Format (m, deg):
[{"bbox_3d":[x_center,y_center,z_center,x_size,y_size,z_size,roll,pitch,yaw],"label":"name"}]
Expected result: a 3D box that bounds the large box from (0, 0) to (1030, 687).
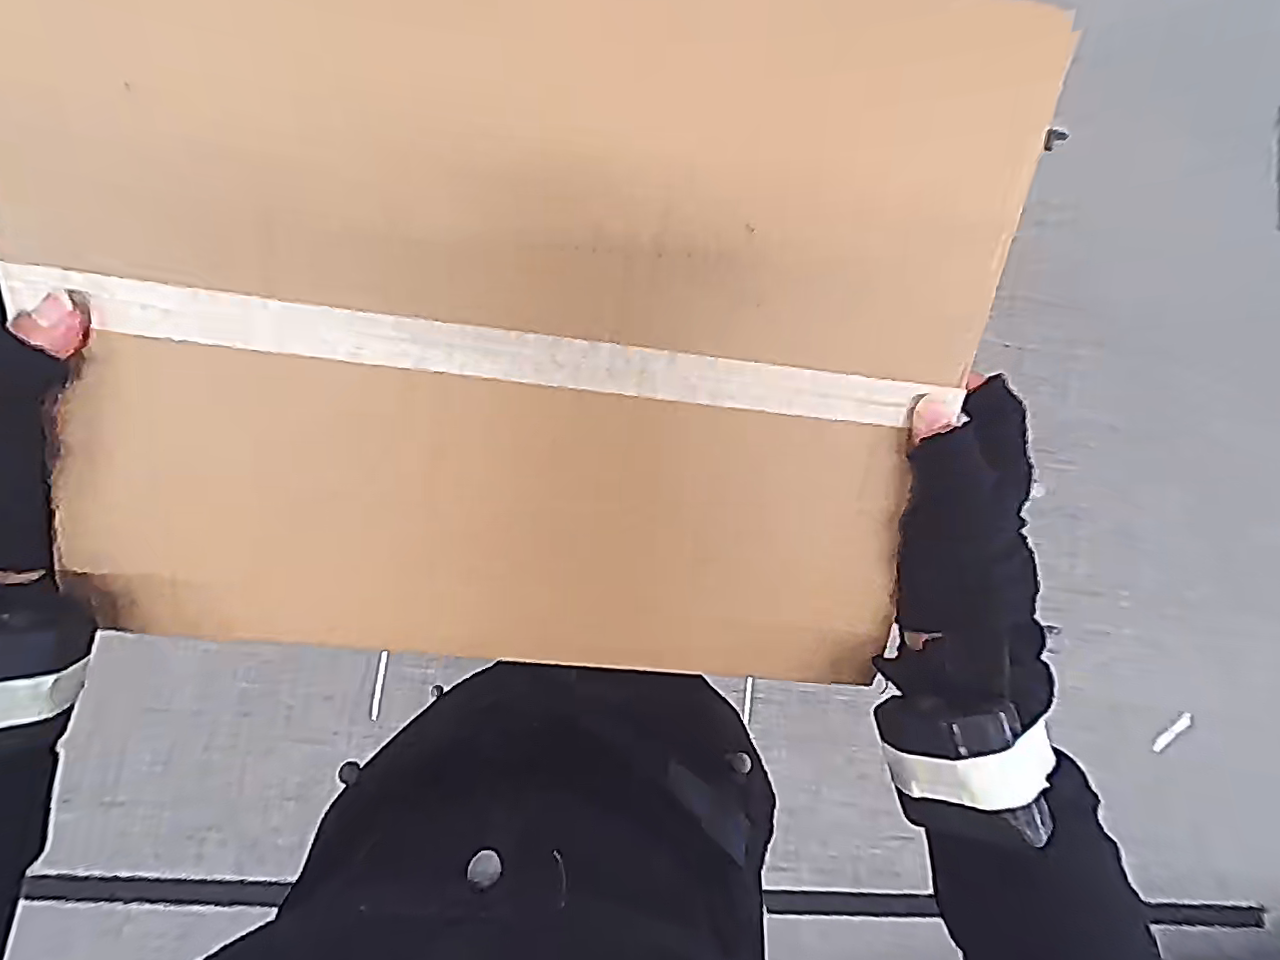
[{"bbox_3d":[-0.060,-0.088,0.389,0.408,0.320,0.320,6,107,-6],"label":"large box"}]
